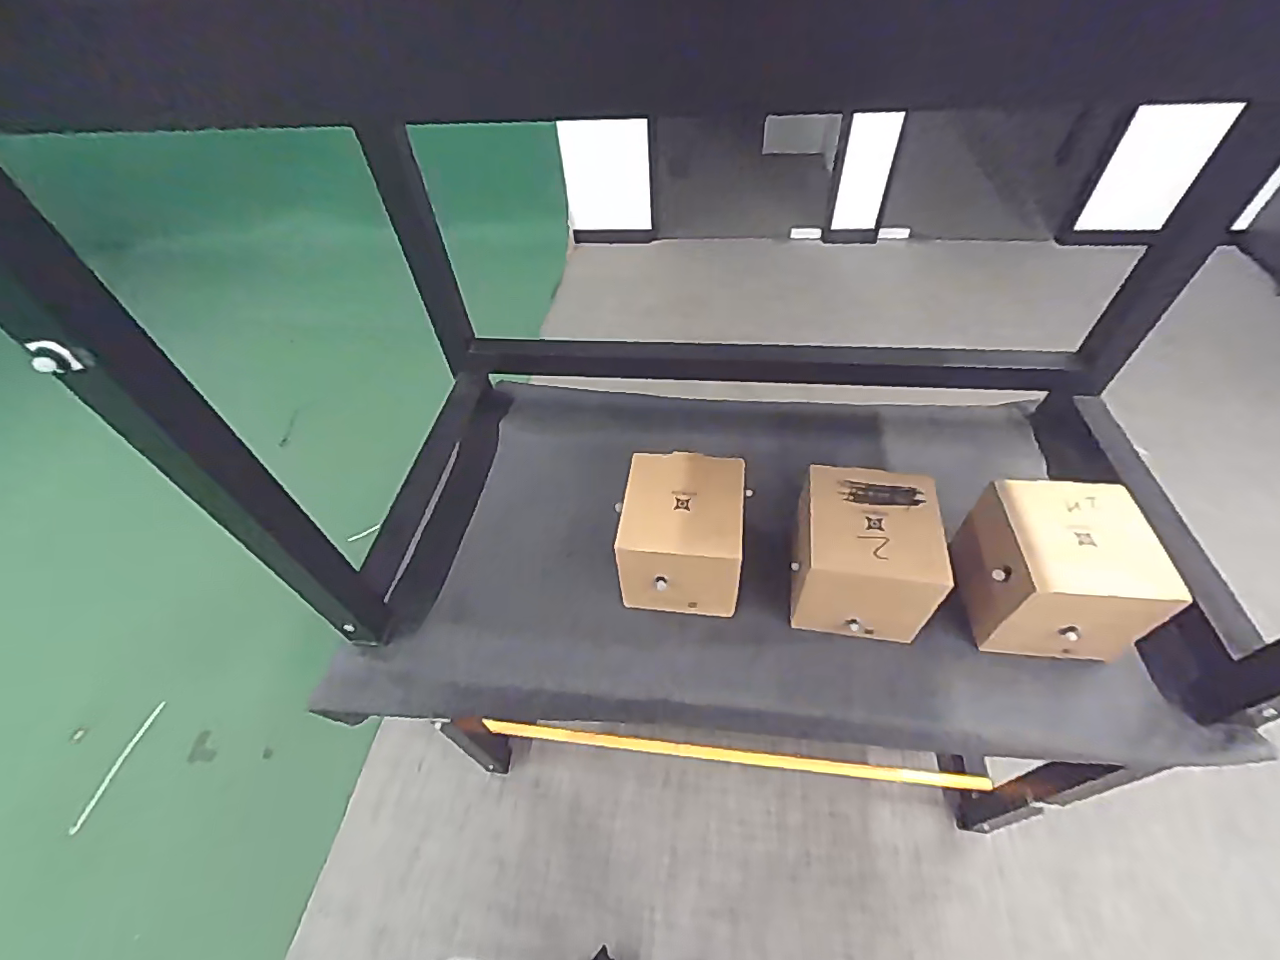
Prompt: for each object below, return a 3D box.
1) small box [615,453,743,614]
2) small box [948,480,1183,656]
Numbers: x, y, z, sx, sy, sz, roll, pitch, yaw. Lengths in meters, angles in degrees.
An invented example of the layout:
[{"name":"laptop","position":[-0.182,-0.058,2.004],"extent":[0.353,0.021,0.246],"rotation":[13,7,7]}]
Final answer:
[{"name":"small box","position":[0.064,0.083,0.809],"extent":[0.168,0.176,0.179],"rotation":[4,50,7]},{"name":"small box","position":[0.550,0.122,0.734],"extent":[0.168,0.176,0.179],"rotation":[3,49,7]}]
